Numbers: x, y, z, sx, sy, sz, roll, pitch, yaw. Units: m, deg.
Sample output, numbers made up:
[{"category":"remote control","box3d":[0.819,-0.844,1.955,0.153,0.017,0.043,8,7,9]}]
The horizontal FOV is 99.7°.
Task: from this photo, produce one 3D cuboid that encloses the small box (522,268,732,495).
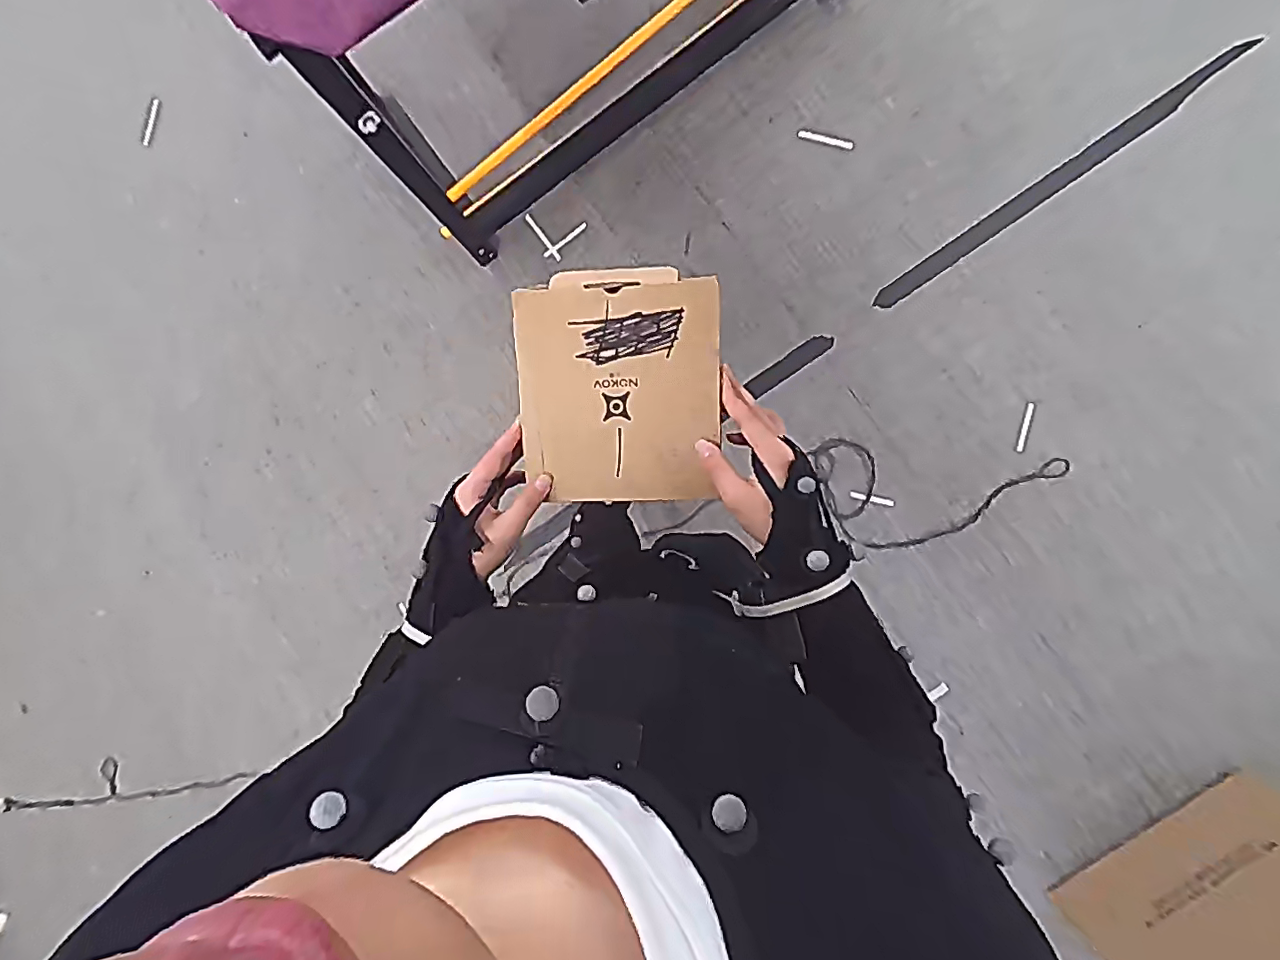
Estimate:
[{"category":"small box","box3d":[-0.003,-0.086,0.505,0.168,0.176,0.179,0,99,7]}]
